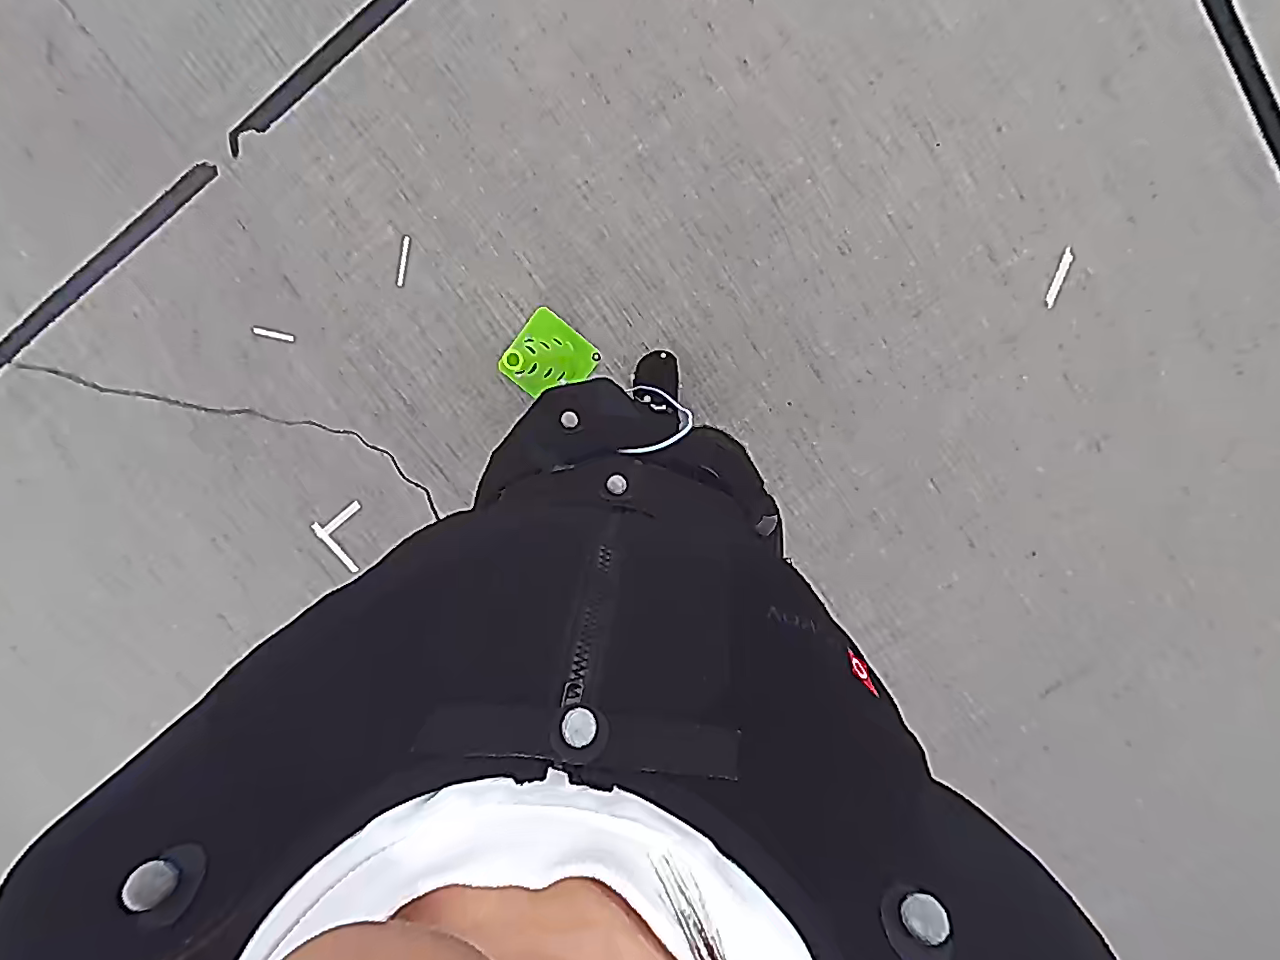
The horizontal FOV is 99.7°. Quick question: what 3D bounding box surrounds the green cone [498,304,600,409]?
[{"bbox_3d":[-0.240,-0.272,1.196,0.200,0.368,0.202,39,102,-5],"label":"green cone"}]
